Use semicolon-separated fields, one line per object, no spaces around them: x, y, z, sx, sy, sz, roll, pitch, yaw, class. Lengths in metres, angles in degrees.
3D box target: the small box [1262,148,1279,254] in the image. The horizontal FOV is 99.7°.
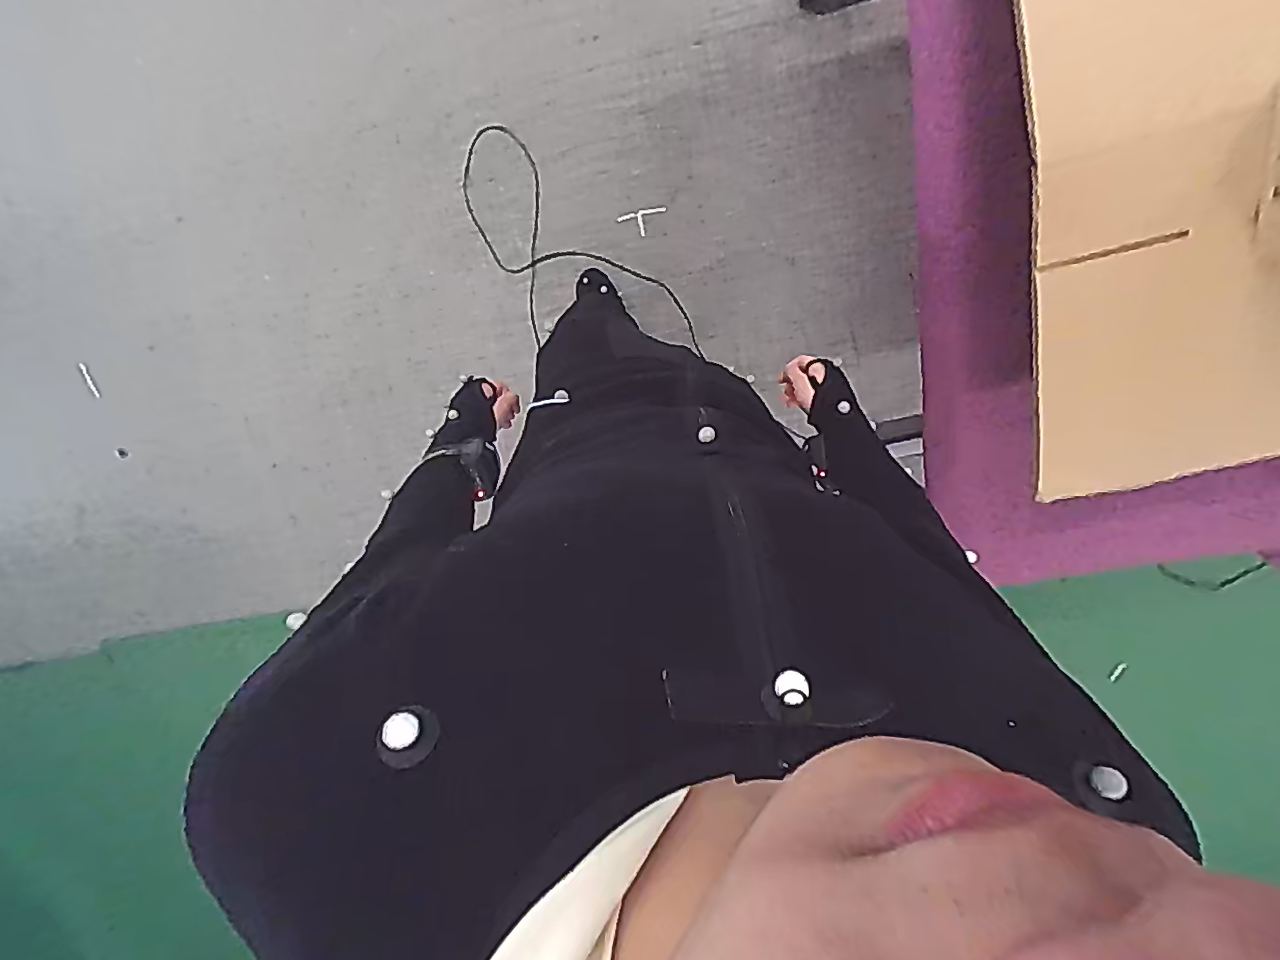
0.727;-0.300;0.466;0.179;0.176;0.168;-11;110;8;small box
